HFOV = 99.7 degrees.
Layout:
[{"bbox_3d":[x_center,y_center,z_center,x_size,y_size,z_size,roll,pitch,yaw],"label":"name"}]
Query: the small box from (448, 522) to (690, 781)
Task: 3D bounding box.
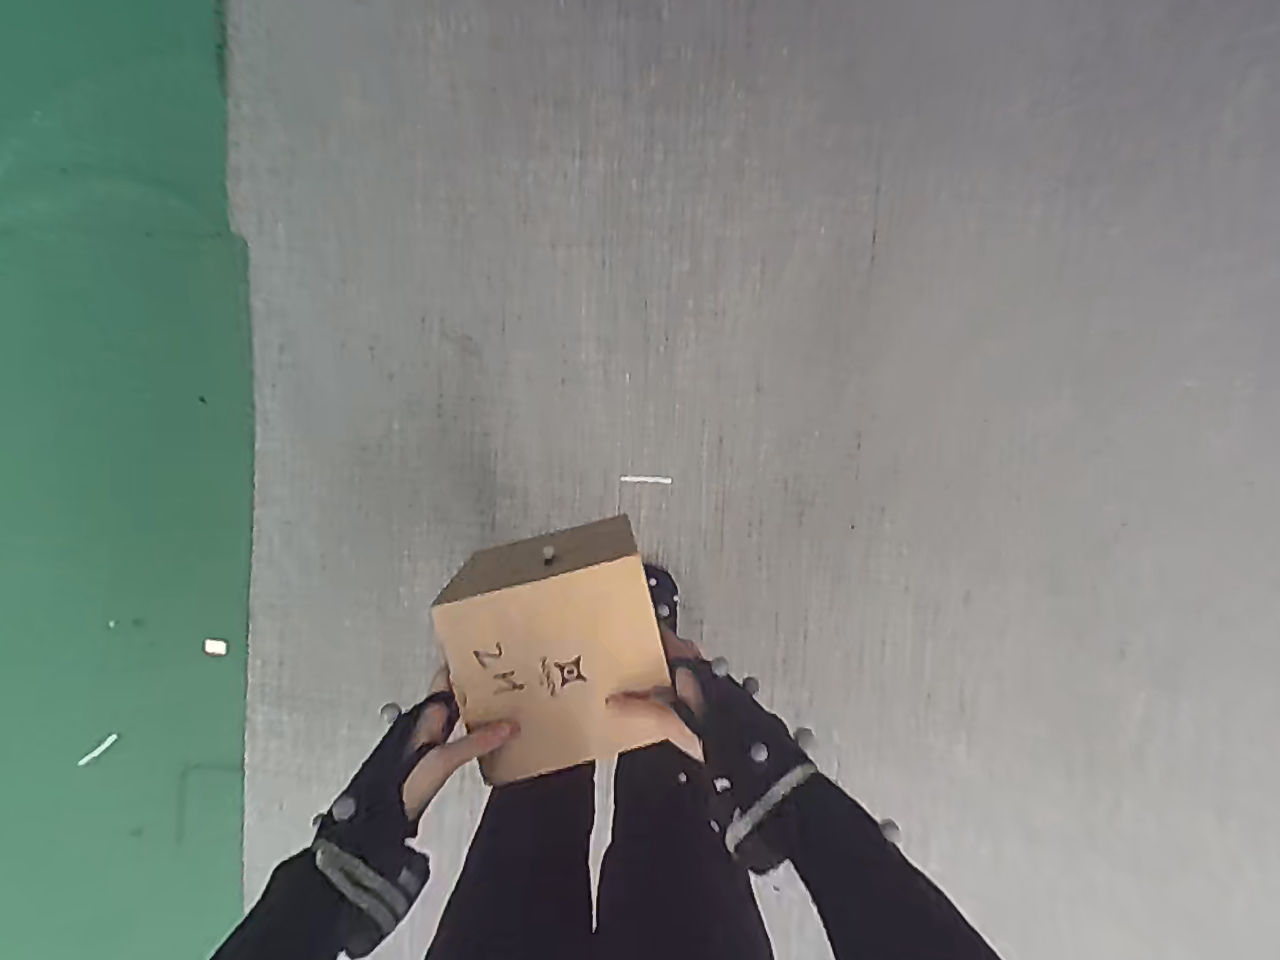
[{"bbox_3d":[-0.064,0.150,0.535,0.179,0.176,0.168,-14,98,-3],"label":"small box"}]
